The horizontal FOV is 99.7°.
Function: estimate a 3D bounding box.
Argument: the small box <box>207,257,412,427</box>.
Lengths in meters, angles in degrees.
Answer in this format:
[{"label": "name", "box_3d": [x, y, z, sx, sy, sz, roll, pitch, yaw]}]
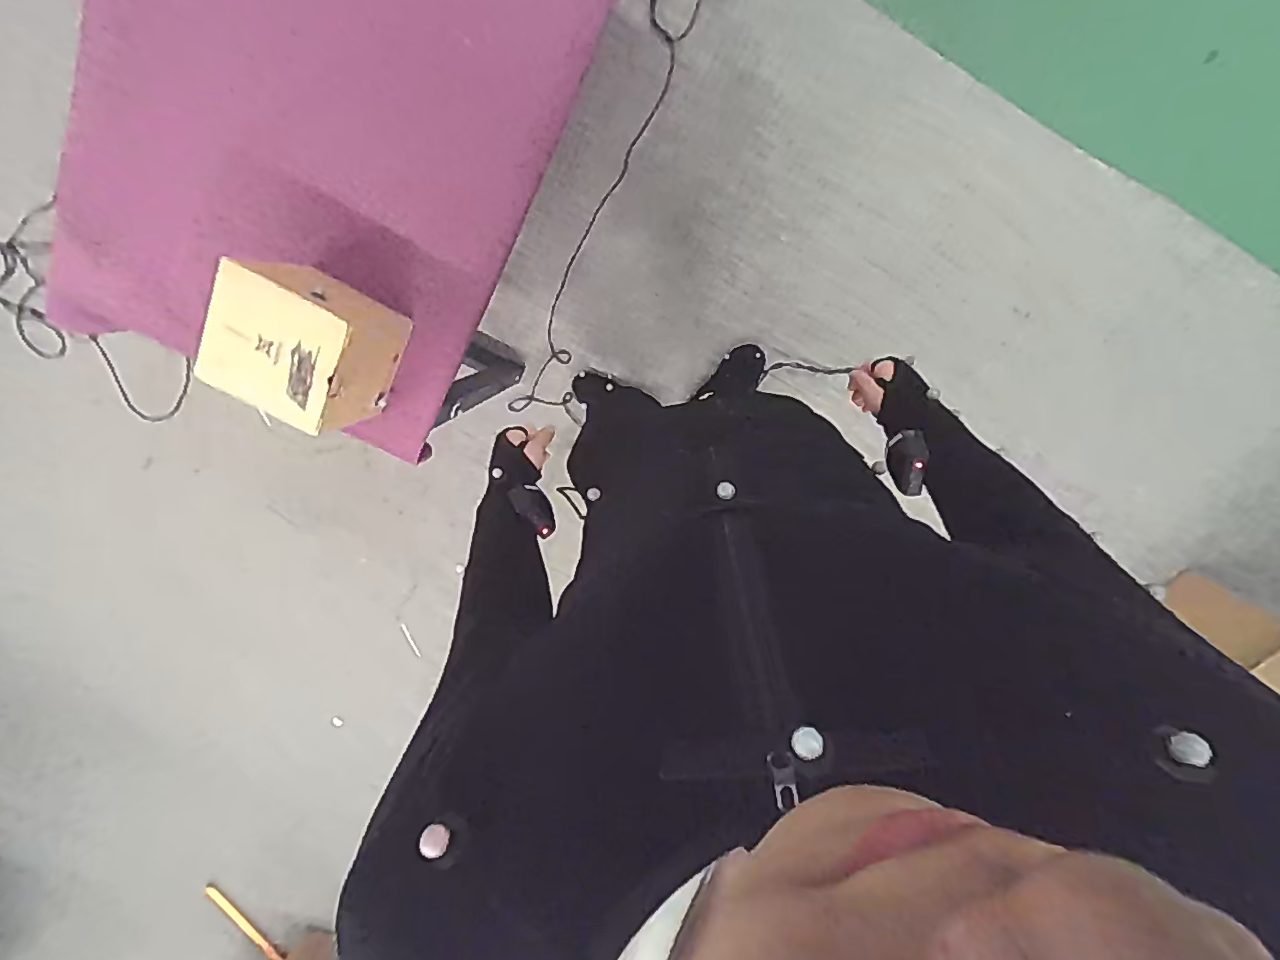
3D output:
[{"label": "small box", "box_3d": [-0.467, -0.203, 0.788, 0.179, 0.176, 0.168, 28, 109, -3]}]
